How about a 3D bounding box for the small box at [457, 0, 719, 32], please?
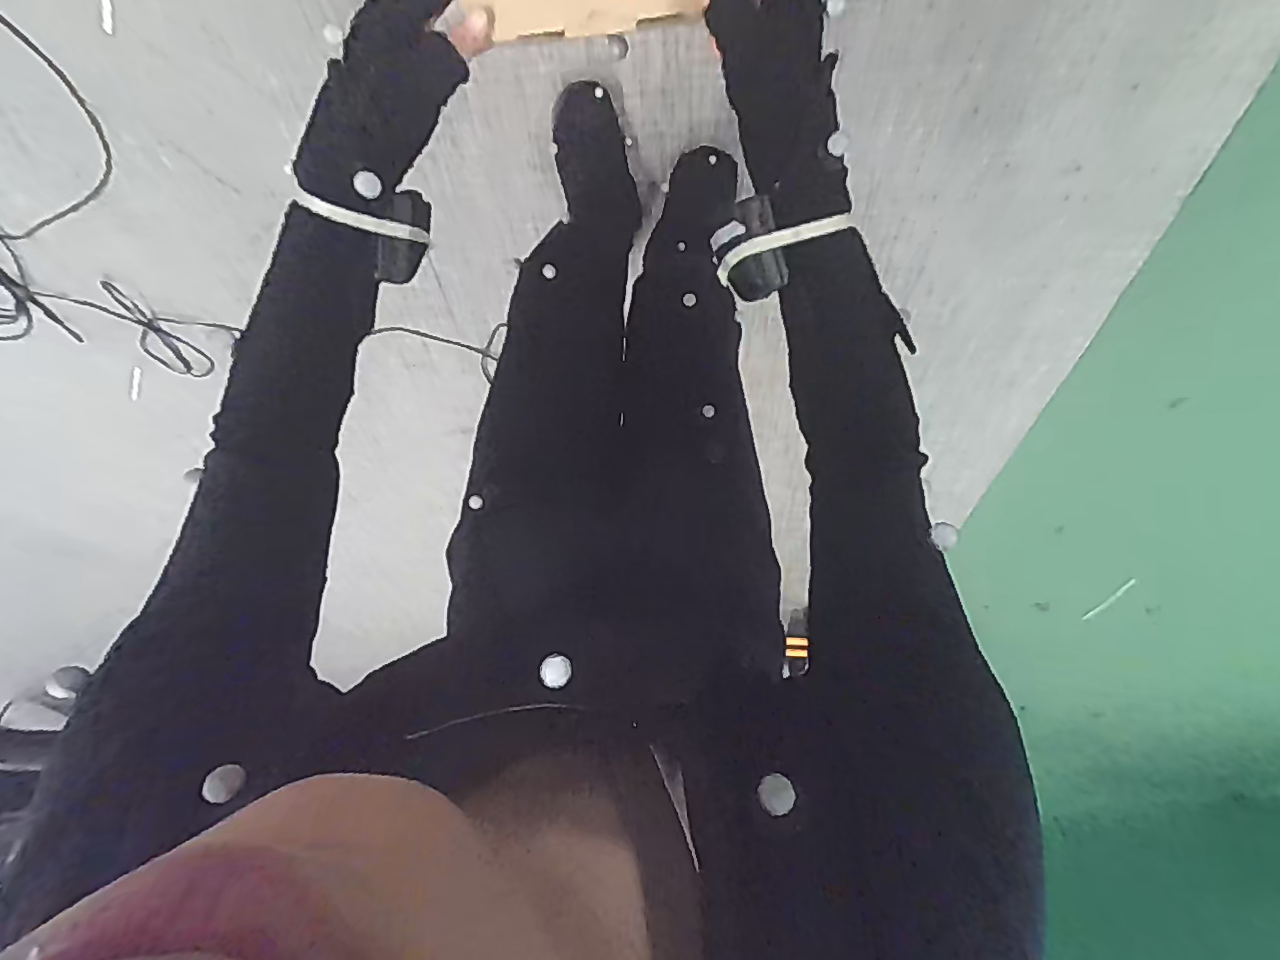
[{"bbox_3d":[-0.032,-0.402,0.338,0.168,0.176,0.179,-2,130,7],"label":"small box"}]
